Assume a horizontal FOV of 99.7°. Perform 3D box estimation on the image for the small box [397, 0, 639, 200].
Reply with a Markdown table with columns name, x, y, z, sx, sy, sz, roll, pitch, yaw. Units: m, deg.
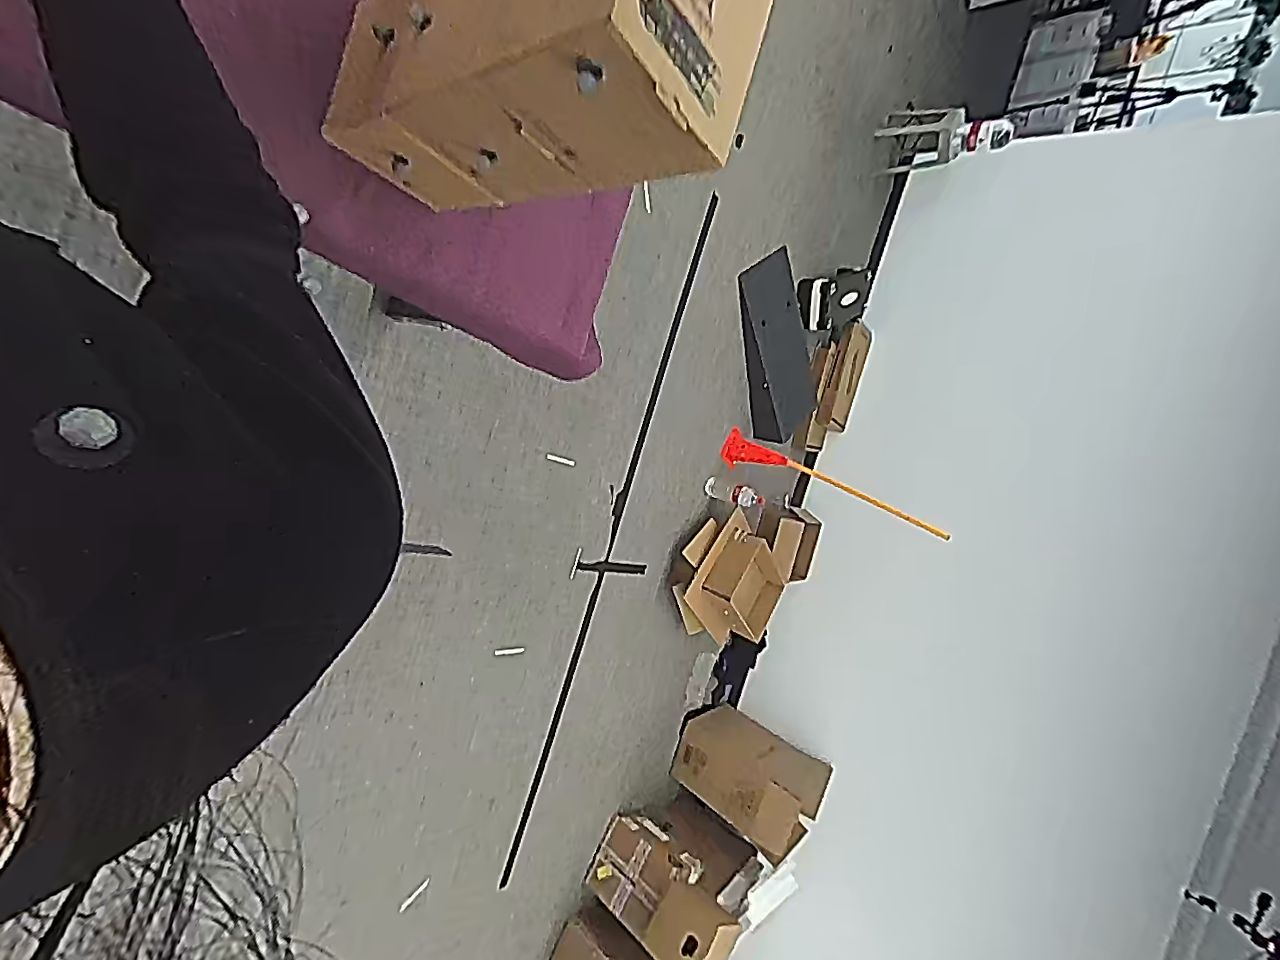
| name | x | y | z | sx | sy | sz | roll | pitch | yaw |
| --- | --- | --- | --- | --- | --- | --- | --- | --- | --- |
| small box | -0.135 | -0.431 | 0.585 | 0.168 | 0.176 | 0.179 | 18 | 90 | -53 |

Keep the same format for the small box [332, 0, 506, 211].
| name | x | y | z | sx | sy | sz | roll | pitch | yaw |
| --- | --- | --- | --- | --- | --- | --- | --- | --- | --- |
| small box | -0.260 | -0.466 | 0.684 | 0.168 | 0.176 | 0.179 | 16 | 91 | -53 |
